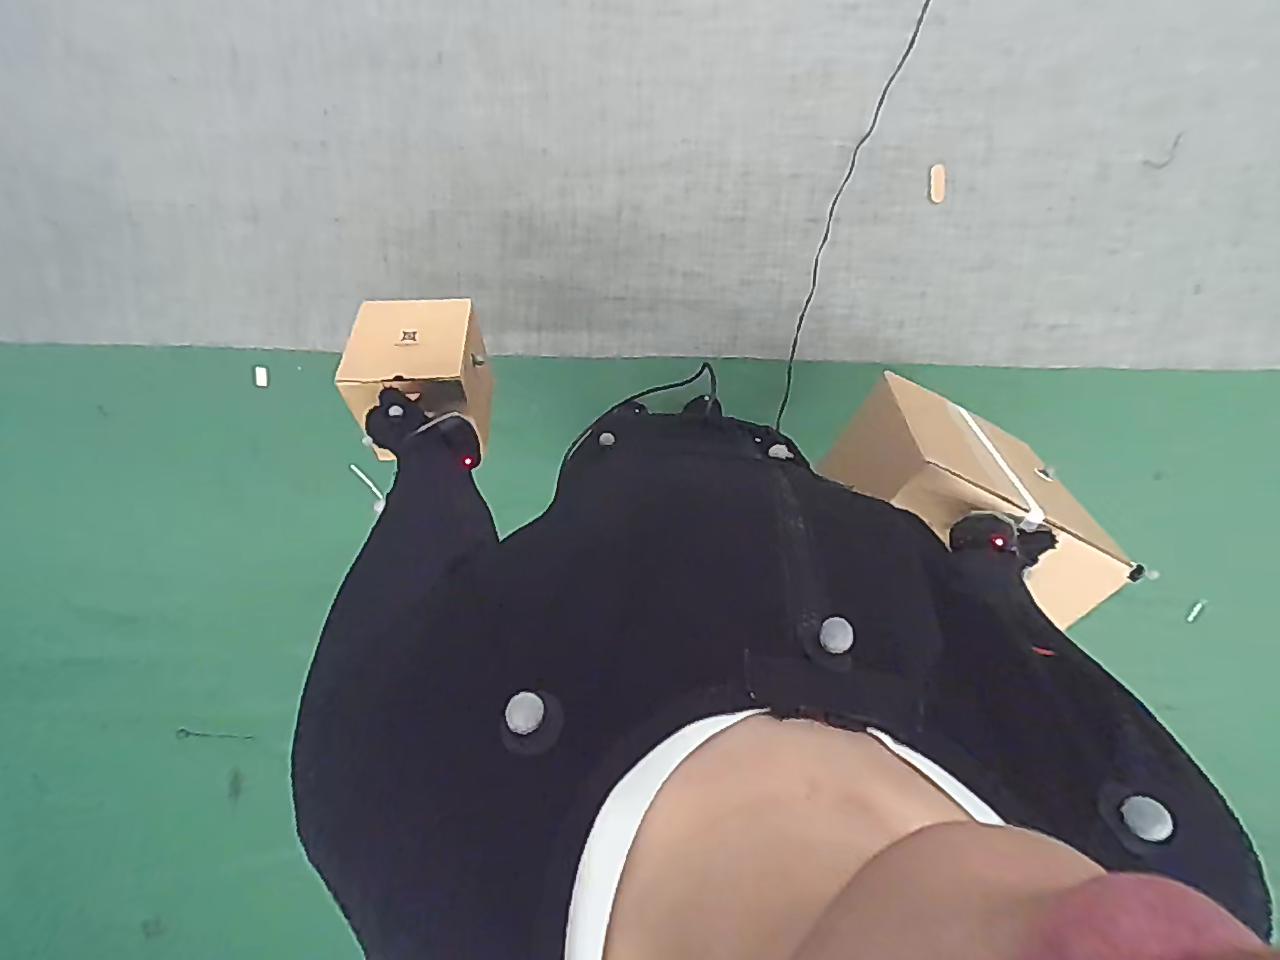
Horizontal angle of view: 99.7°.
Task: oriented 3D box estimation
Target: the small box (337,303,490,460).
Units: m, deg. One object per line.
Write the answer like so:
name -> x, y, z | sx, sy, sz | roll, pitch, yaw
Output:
small box -> -0.335, -0.151, 0.841 | 0.168, 0.179, 0.176 | -4, 145, -4
